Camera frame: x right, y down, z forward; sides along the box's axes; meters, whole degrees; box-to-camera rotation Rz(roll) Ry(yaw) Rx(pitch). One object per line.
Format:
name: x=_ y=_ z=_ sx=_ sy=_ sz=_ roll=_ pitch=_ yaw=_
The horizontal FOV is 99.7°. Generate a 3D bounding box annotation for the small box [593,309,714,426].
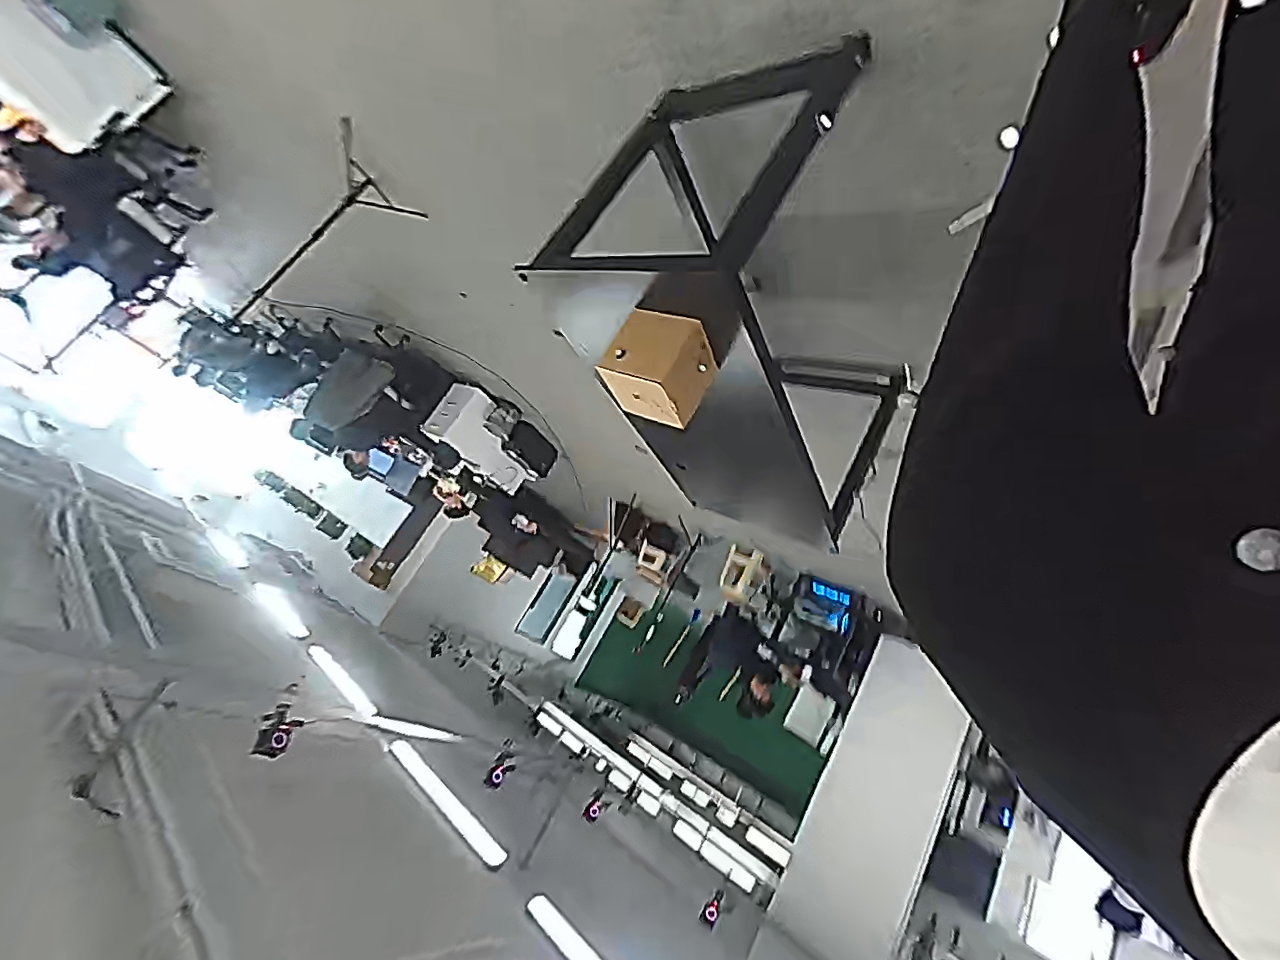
small box: x=0.034 y=-0.248 z=1.174 sx=0.179 sy=0.176 sz=0.168 roll=22 pitch=162 yaw=31
